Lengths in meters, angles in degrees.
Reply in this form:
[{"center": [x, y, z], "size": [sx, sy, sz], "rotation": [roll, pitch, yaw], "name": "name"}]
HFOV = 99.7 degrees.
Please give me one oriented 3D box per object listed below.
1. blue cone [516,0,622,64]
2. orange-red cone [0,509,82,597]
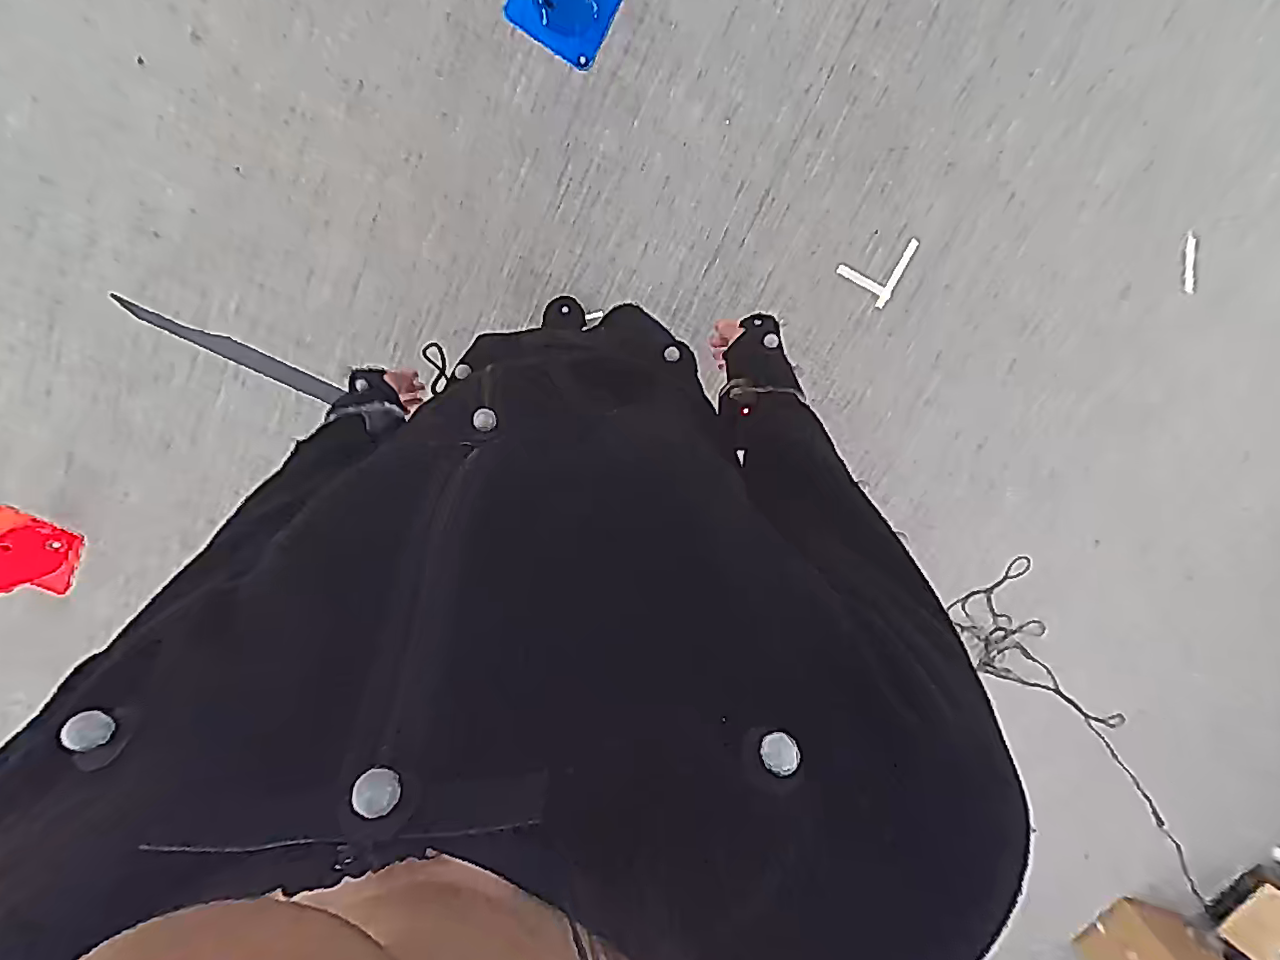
[{"center": [-0.127, -0.937, 0.947], "size": [0.192, 0.380, 0.193], "rotation": [29, 104, -14], "name": "blue cone"}, {"center": [-1.527, 0.241, 1.203], "size": [0.199, 0.360, 0.198], "rotation": [29, 104, -13], "name": "orange-red cone"}]
